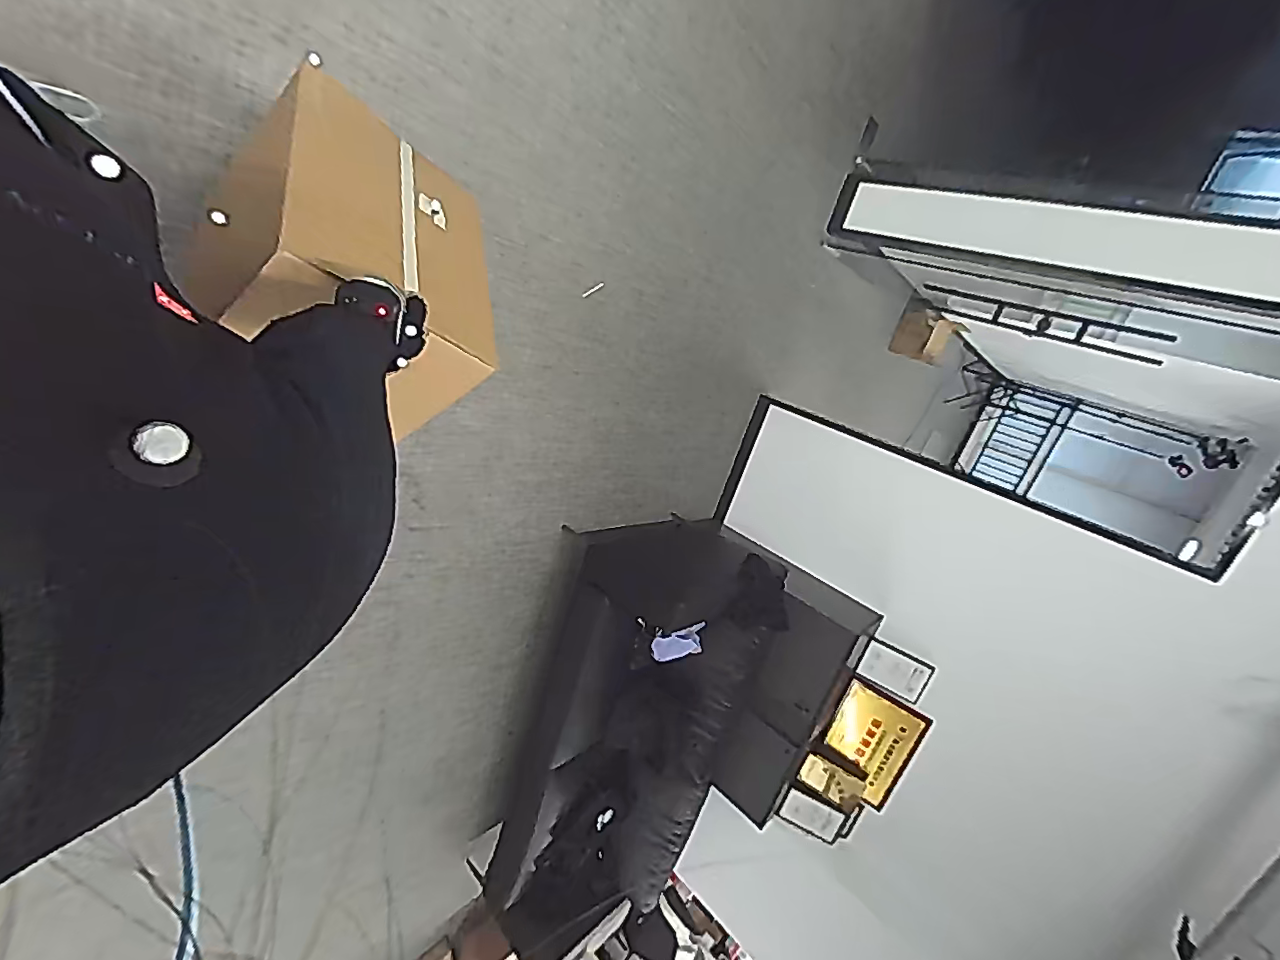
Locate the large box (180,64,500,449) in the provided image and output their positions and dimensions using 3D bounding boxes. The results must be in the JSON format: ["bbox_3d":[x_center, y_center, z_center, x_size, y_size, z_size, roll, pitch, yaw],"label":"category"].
[{"bbox_3d":[-0.465,-0.320,0.864,0.320,0.408,0.320,-28,150,24],"label":"large box"}]
